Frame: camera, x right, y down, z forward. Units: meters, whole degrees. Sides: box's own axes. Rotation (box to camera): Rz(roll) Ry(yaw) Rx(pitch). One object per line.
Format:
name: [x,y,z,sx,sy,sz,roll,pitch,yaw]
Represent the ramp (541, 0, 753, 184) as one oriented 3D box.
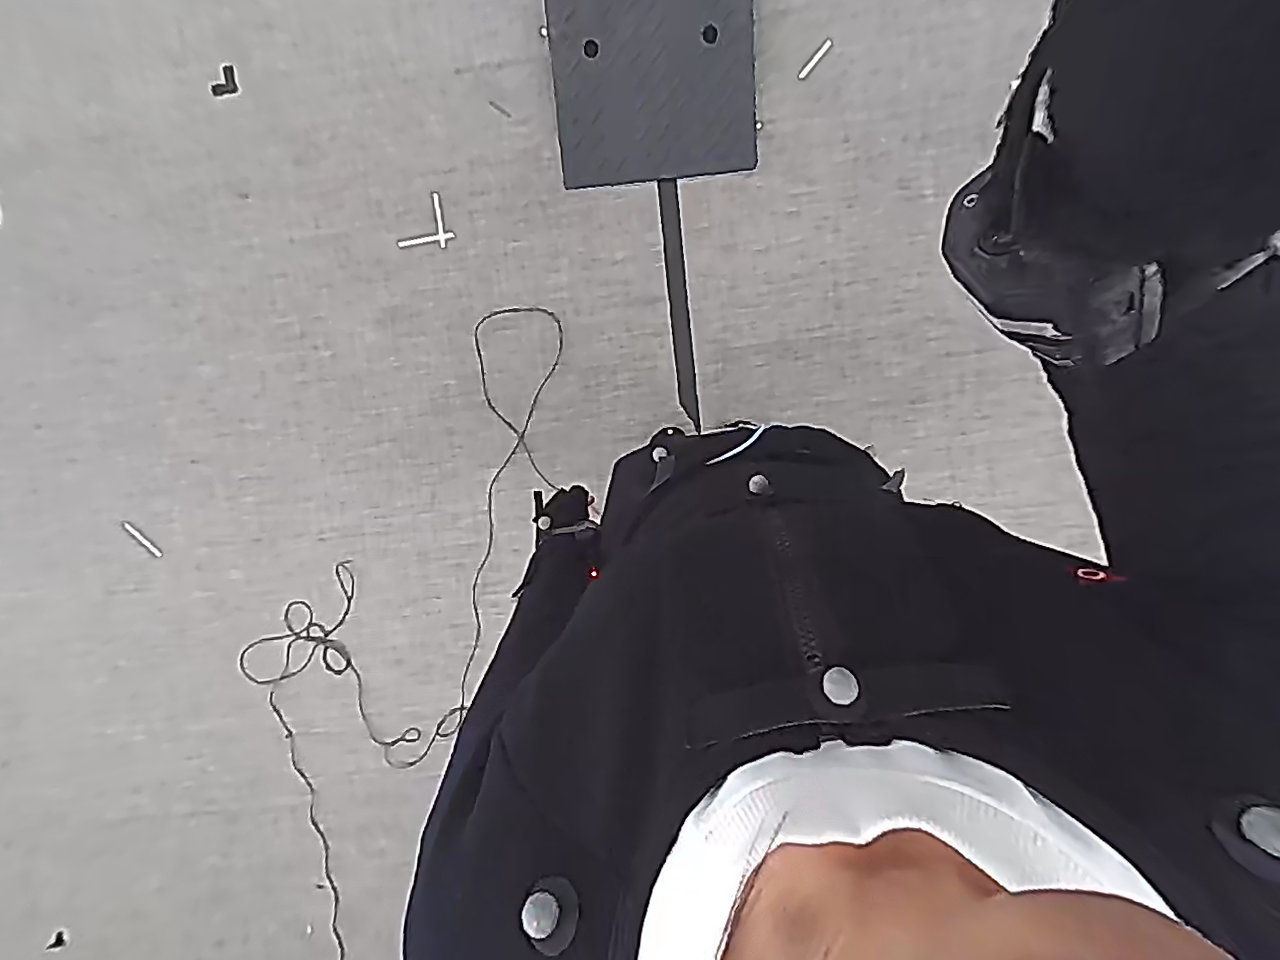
ramp: [0.001,-1.251,1.232,0.509,0.206,0.991,-6,96,3]
